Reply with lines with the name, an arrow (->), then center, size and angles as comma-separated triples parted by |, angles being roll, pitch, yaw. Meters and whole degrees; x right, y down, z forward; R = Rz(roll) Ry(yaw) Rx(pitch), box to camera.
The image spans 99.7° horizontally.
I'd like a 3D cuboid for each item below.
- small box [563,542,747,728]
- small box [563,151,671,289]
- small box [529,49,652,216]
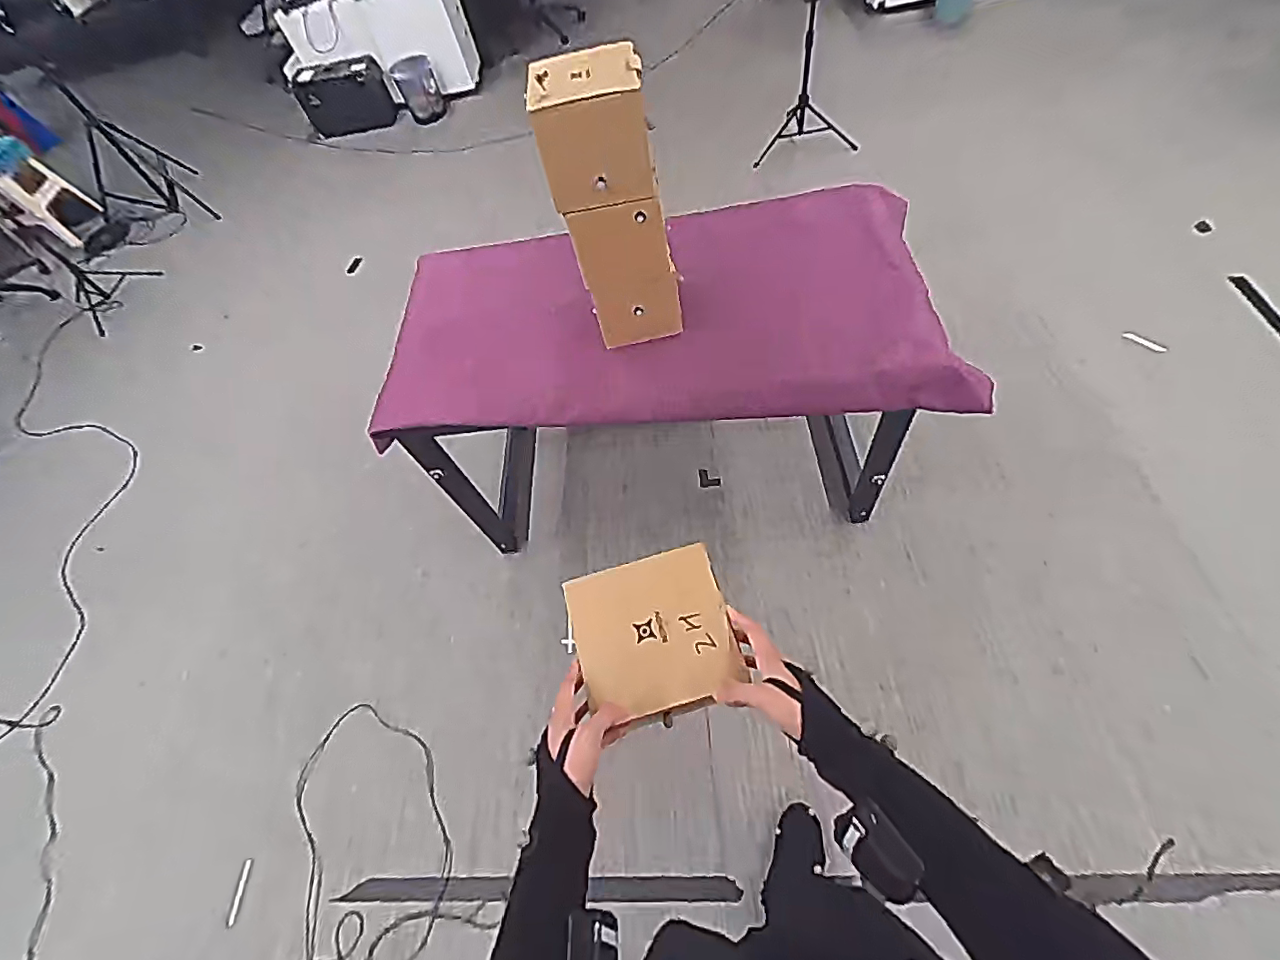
small box -> 0.019, 0.200, 0.673 | 0.179, 0.176, 0.168 | -15, 64, -3
small box -> -0.042, -0.493, 1.043 | 0.179, 0.176, 0.168 | -8, 58, 5
small box -> -0.075, -0.574, 0.904 | 0.179, 0.176, 0.168 | -8, 57, 4
